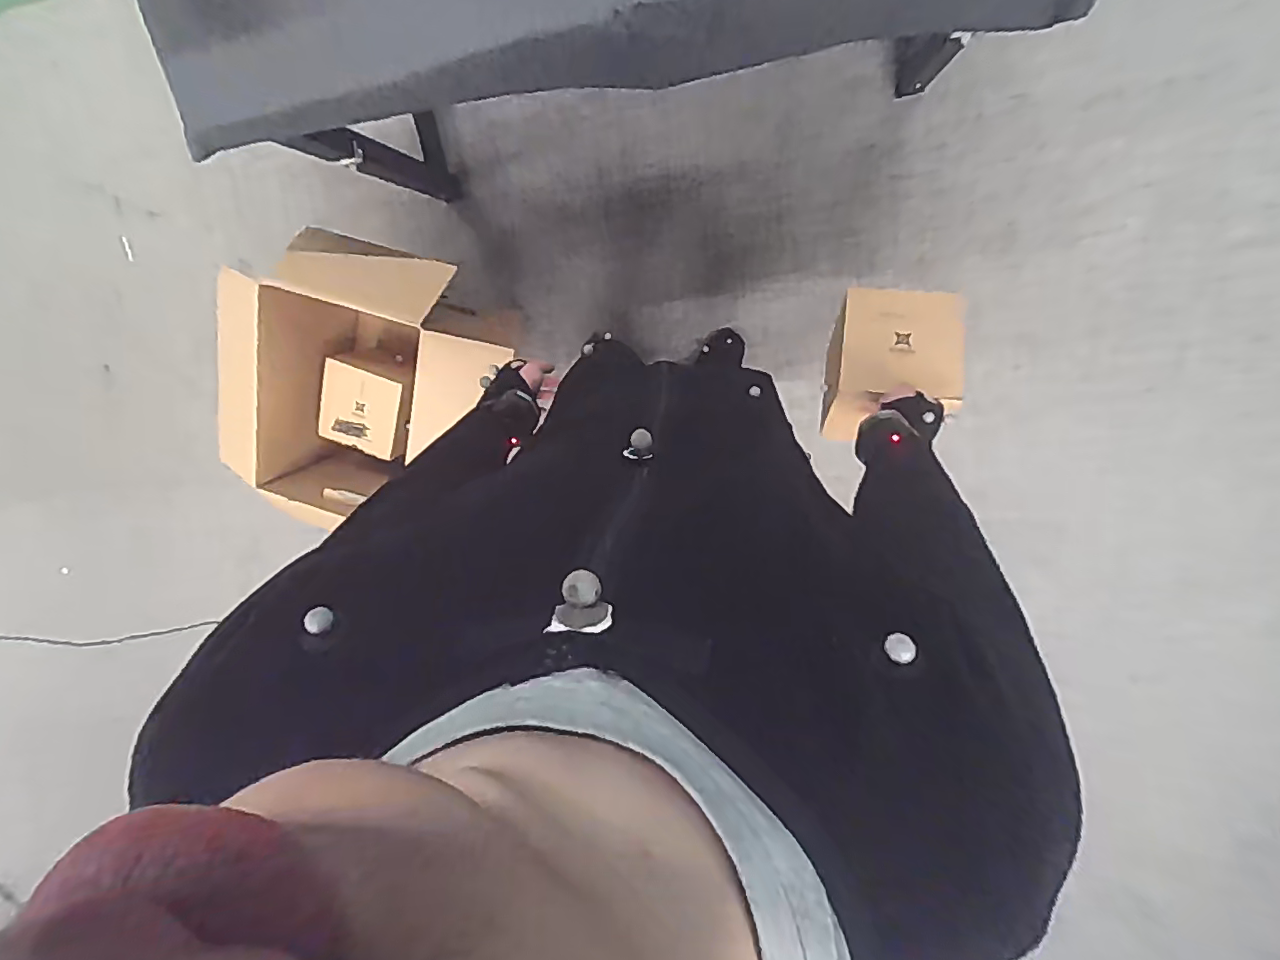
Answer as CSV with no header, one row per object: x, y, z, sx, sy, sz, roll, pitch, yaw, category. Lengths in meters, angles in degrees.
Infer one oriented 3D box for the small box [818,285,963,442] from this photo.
0.378,-0.172,0.838,0.168,0.176,0.179,8,72,9,small box
